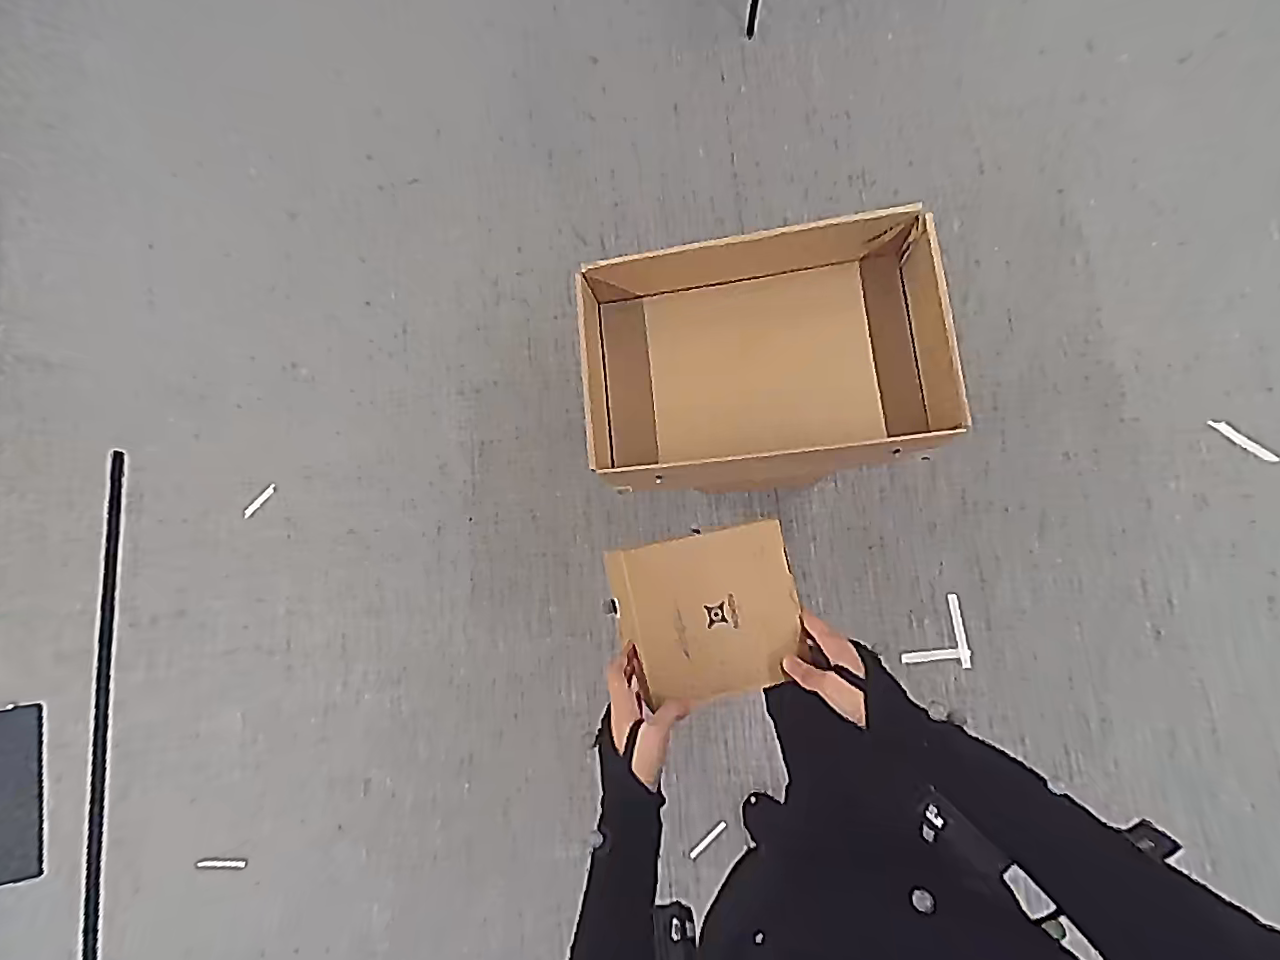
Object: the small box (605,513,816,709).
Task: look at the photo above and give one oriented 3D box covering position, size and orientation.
[{"bbox_3d":[0.068,0.138,0.625,0.179,0.176,0.168,-11,84,-13],"label":"small box"}]
